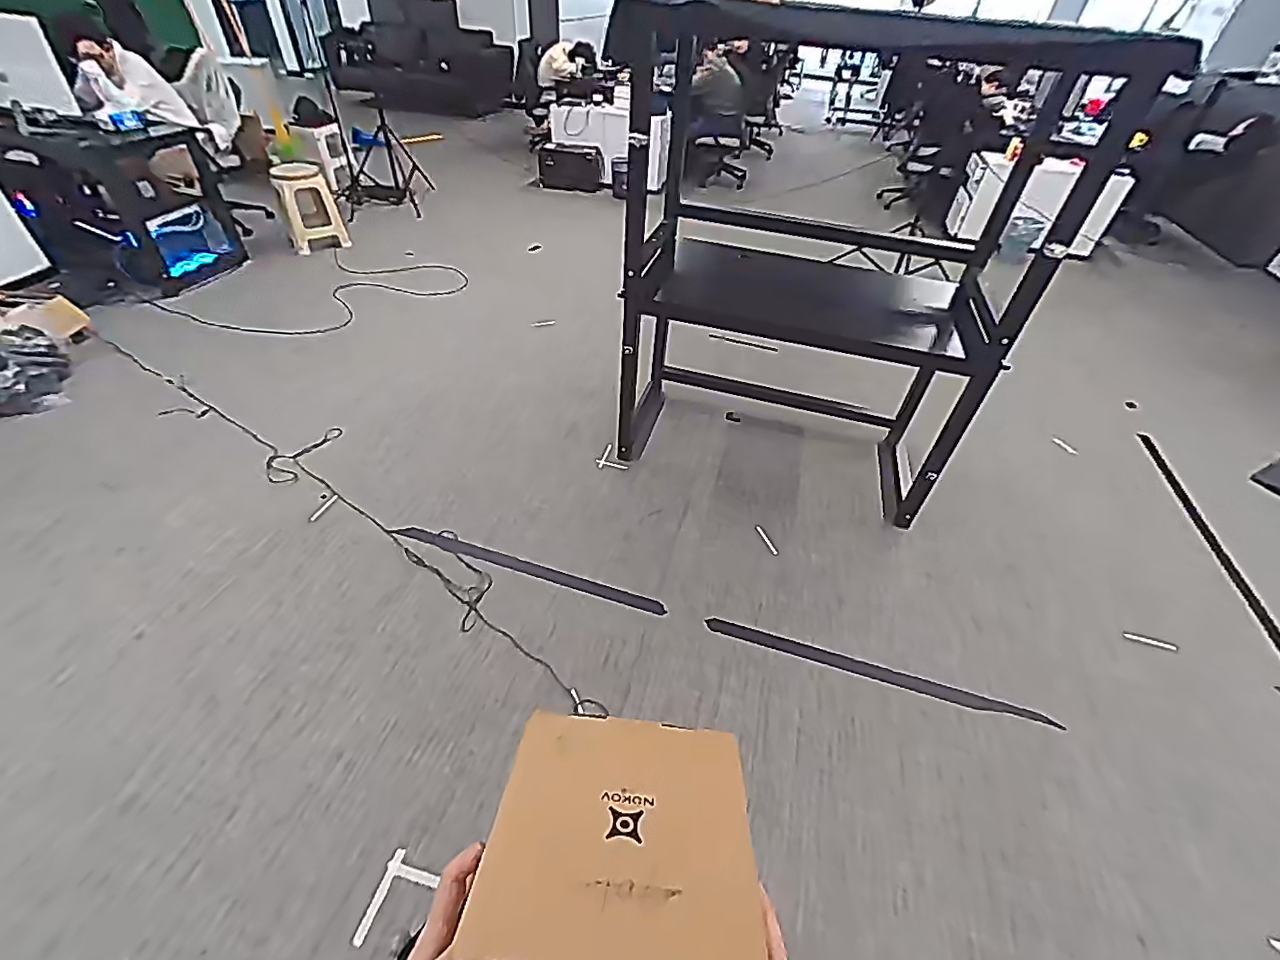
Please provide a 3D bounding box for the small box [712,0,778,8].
[{"bbox_3d":[0.253,-1.217,1.257,0.168,0.176,0.179,15,41,9],"label":"small box"}]

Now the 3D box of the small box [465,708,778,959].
[{"bbox_3d":[-0.013,0.294,0.374,0.168,0.176,0.179,6,20,1],"label":"small box"}]
